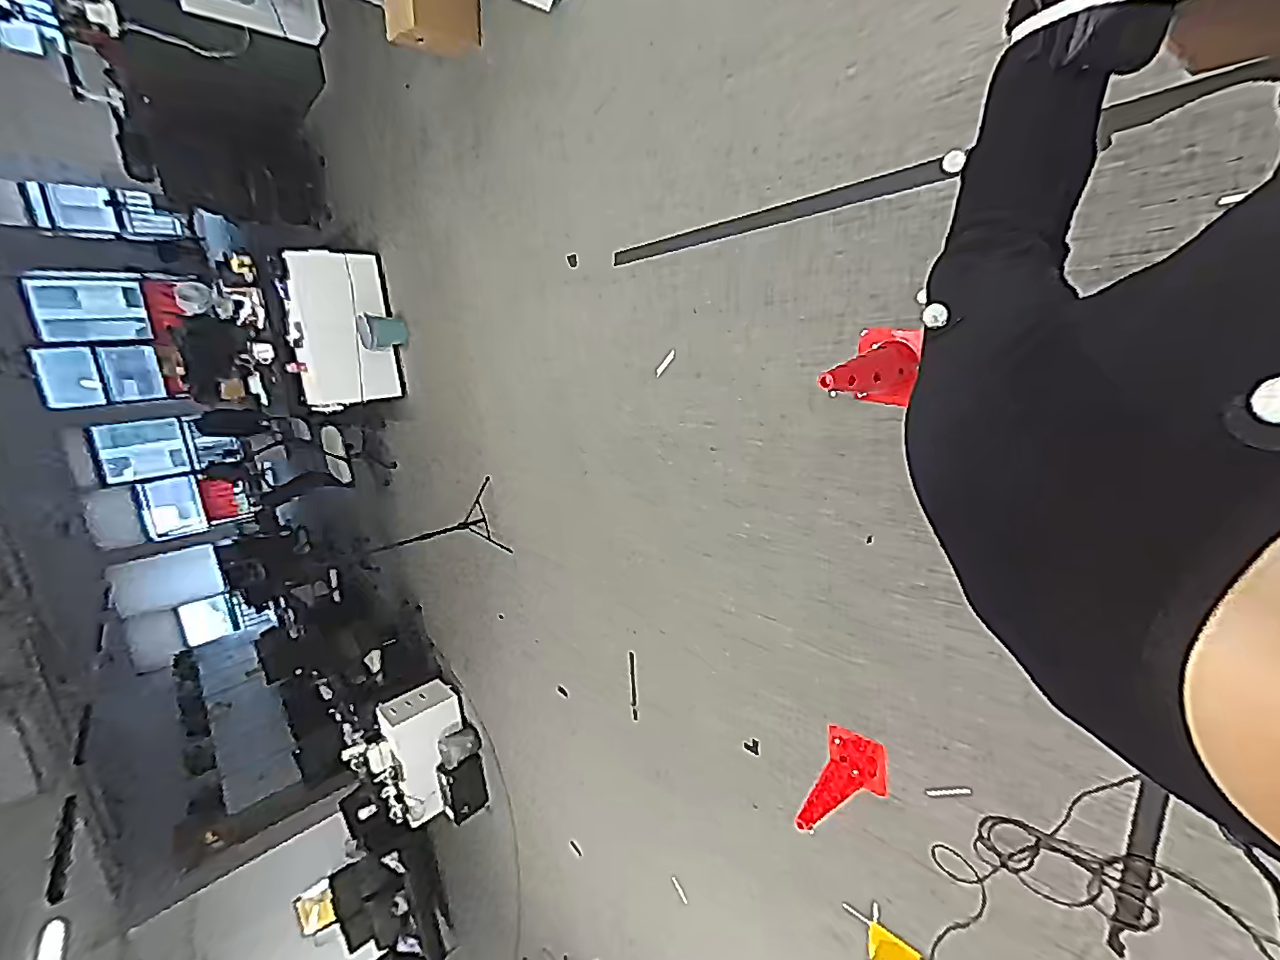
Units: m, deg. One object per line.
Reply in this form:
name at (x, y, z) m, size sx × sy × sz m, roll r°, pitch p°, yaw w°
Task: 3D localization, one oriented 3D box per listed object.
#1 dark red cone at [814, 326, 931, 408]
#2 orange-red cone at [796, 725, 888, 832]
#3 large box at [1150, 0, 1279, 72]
dark red cone at (0.536, -0.262, 1.317) m, size 0.201 × 0.394 × 0.202 m, roll 18°, pitch 116°, yaw 43°
orange-red cone at (0.605, 0.978, 1.701) m, size 0.198 × 0.360 × 0.199 m, roll 8°, pitch 110°, yaw 48°
large box at (0.538, -0.457, 0.243) m, size 0.408 × 0.320 × 0.320 m, roll 14°, pitch 119°, yaw 45°
